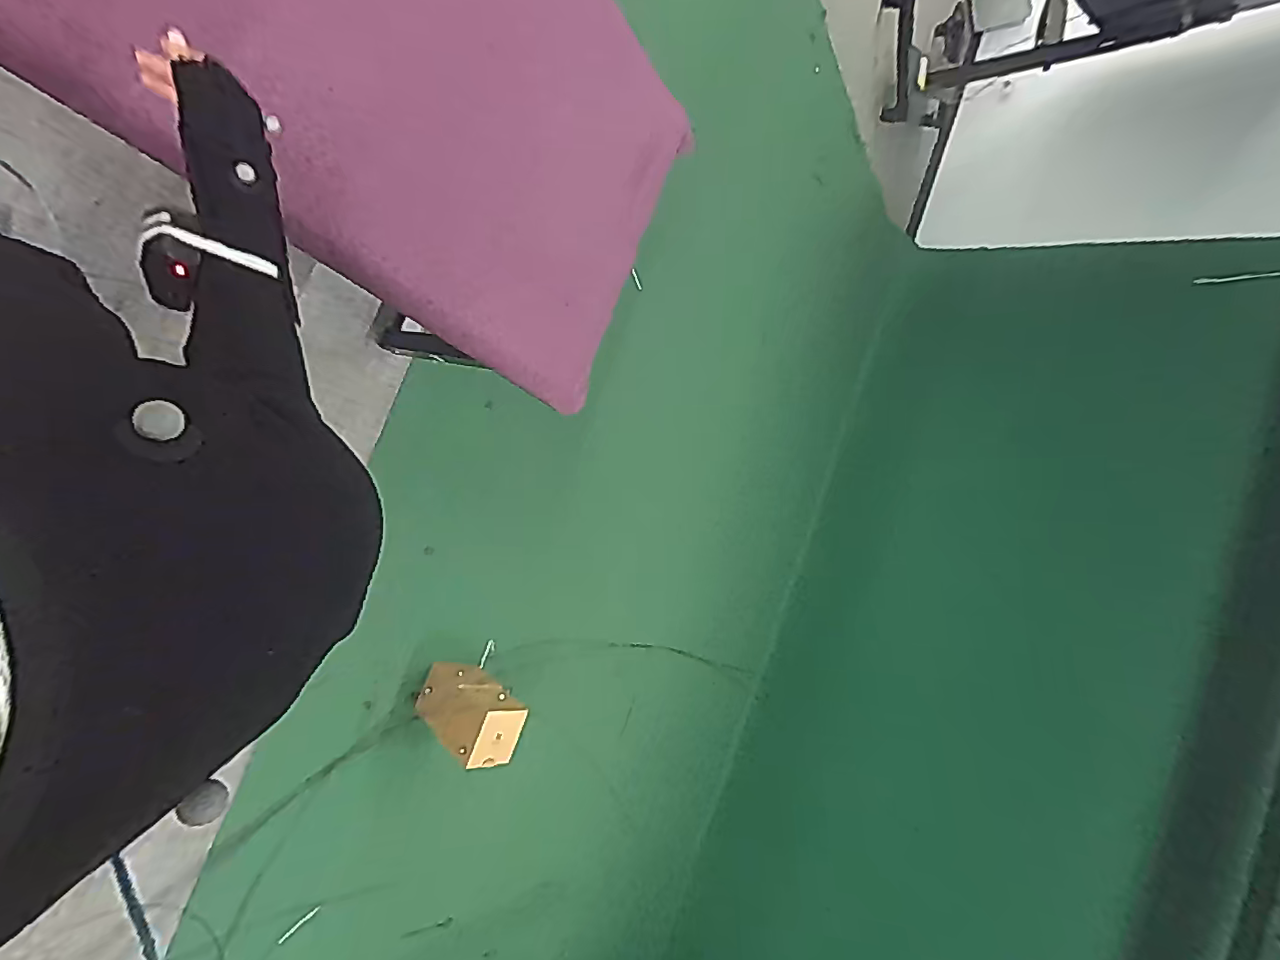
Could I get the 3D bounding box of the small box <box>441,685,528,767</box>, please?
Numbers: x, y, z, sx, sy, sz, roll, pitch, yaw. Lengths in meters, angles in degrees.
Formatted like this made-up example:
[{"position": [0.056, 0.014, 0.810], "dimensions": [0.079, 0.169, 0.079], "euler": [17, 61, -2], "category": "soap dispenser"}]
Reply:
[{"position": [-0.485, 0.755, 1.678], "dimensions": [0.168, 0.176, 0.179], "euler": [27, 84, -50], "category": "small box"}]
